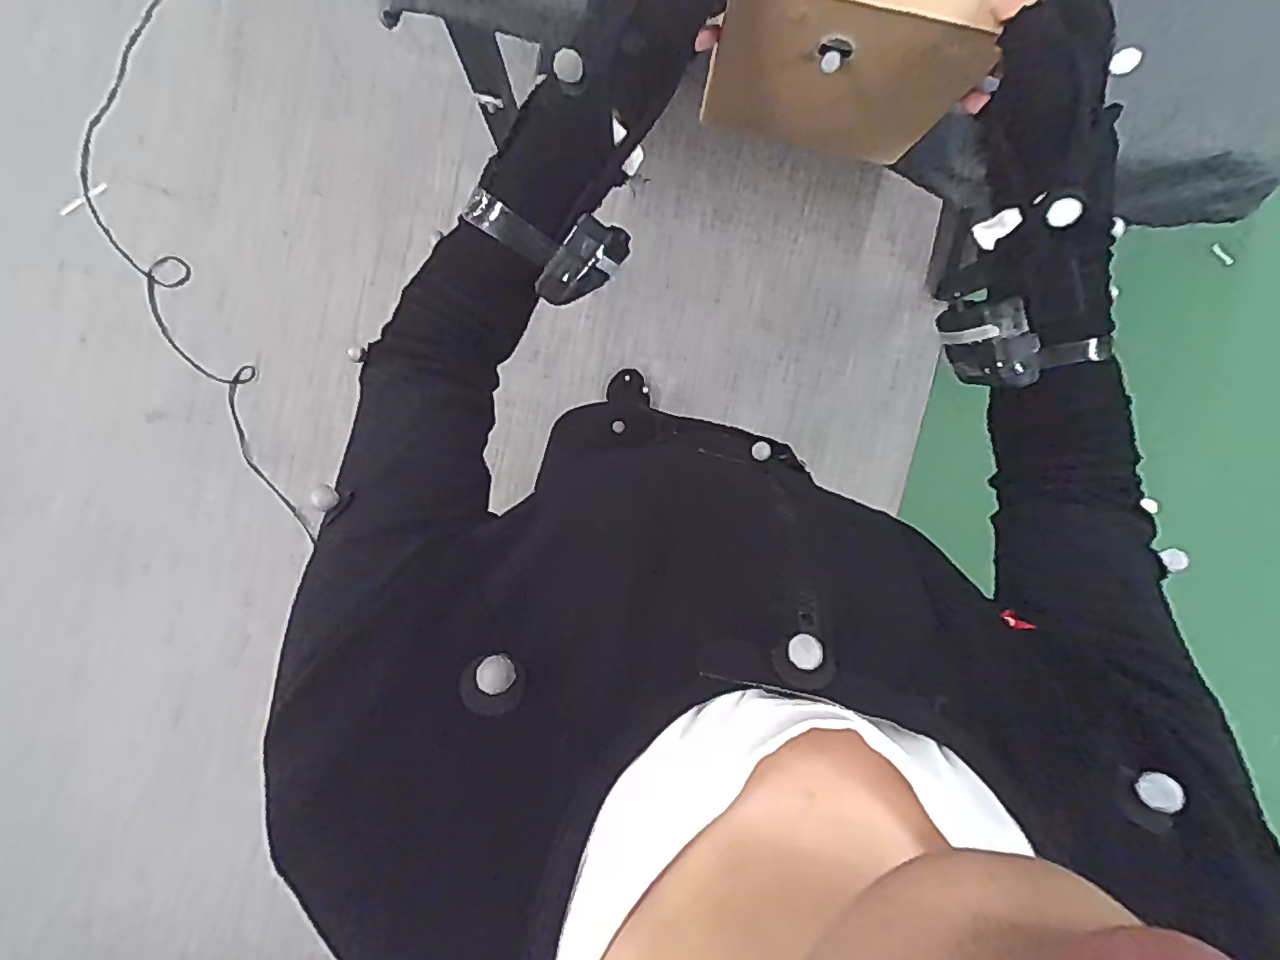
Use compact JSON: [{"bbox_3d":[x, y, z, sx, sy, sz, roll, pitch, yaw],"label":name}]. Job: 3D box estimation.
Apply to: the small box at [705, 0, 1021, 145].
[{"bbox_3d":[0.151,-0.373,0.385,0.179,0.176,0.168,11,98,-2],"label":"small box"}]
